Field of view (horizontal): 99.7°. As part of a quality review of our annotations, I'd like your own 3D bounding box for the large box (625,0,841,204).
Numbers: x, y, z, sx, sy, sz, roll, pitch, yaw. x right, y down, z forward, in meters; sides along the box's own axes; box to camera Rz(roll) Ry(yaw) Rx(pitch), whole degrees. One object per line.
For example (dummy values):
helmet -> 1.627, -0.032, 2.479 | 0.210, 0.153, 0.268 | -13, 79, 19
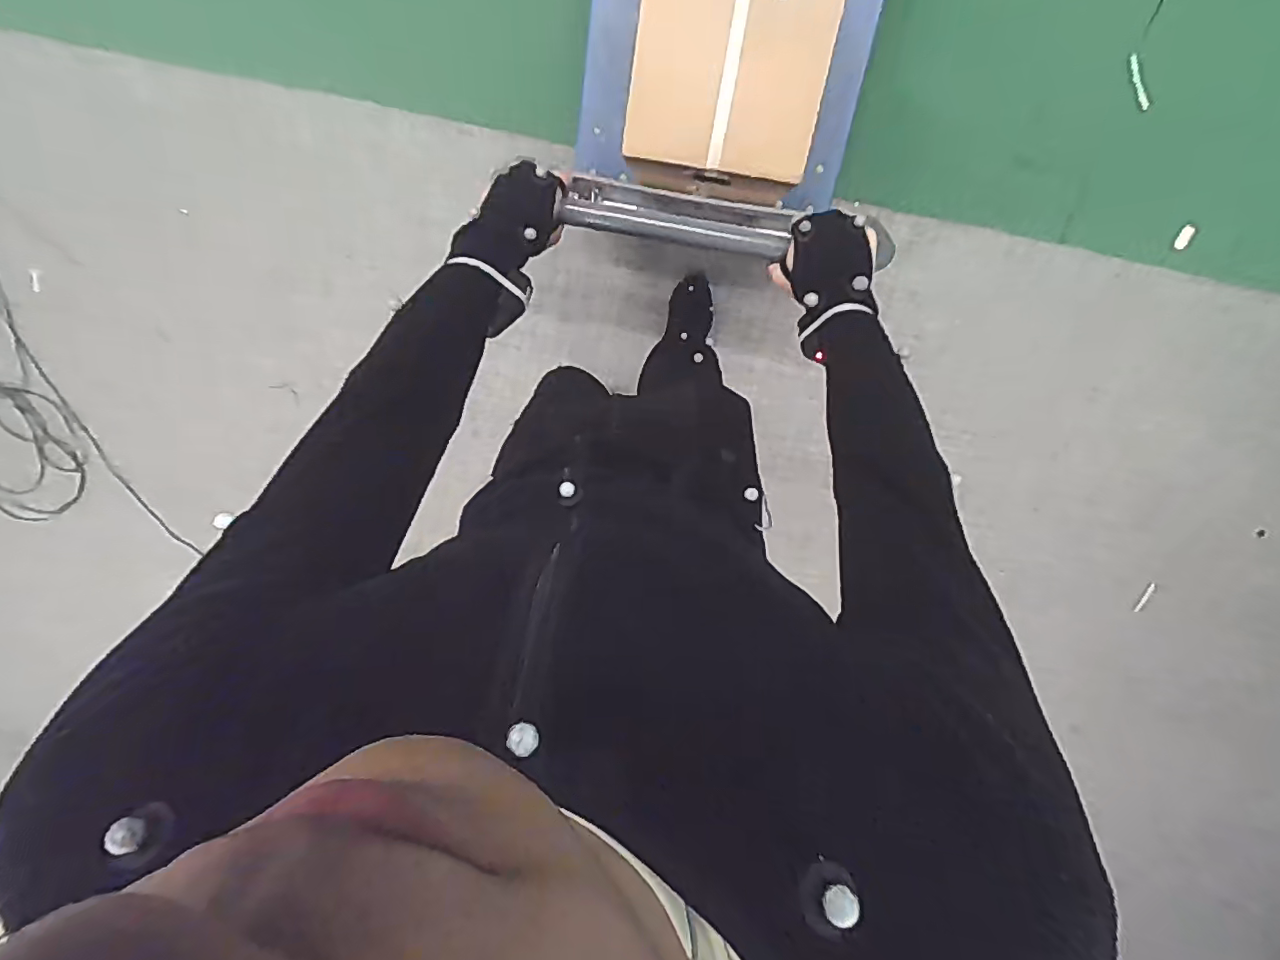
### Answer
large box -> 0.168, -0.769, 1.000 | 0.320, 0.320, 0.408 | 11, 111, 2
